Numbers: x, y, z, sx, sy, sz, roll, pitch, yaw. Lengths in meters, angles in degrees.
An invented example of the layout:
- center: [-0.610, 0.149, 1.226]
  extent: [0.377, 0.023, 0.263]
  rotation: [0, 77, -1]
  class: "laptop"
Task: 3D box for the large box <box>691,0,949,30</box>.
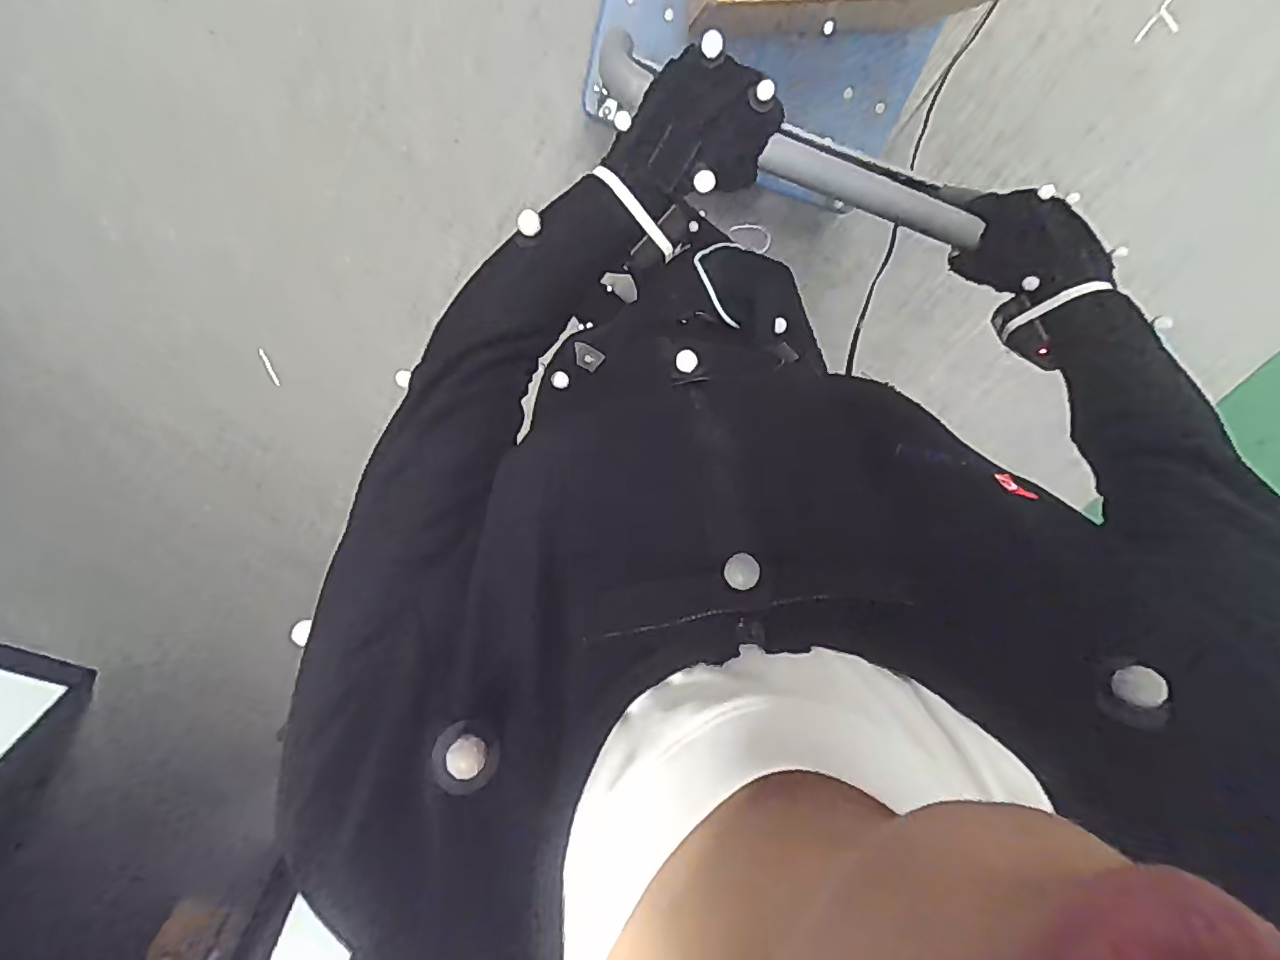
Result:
- center: [0.285, -0.843, 0.740]
  extent: [0.408, 0.320, 0.320]
  rotation: [-3, 123, 0]
  class: "large box"
